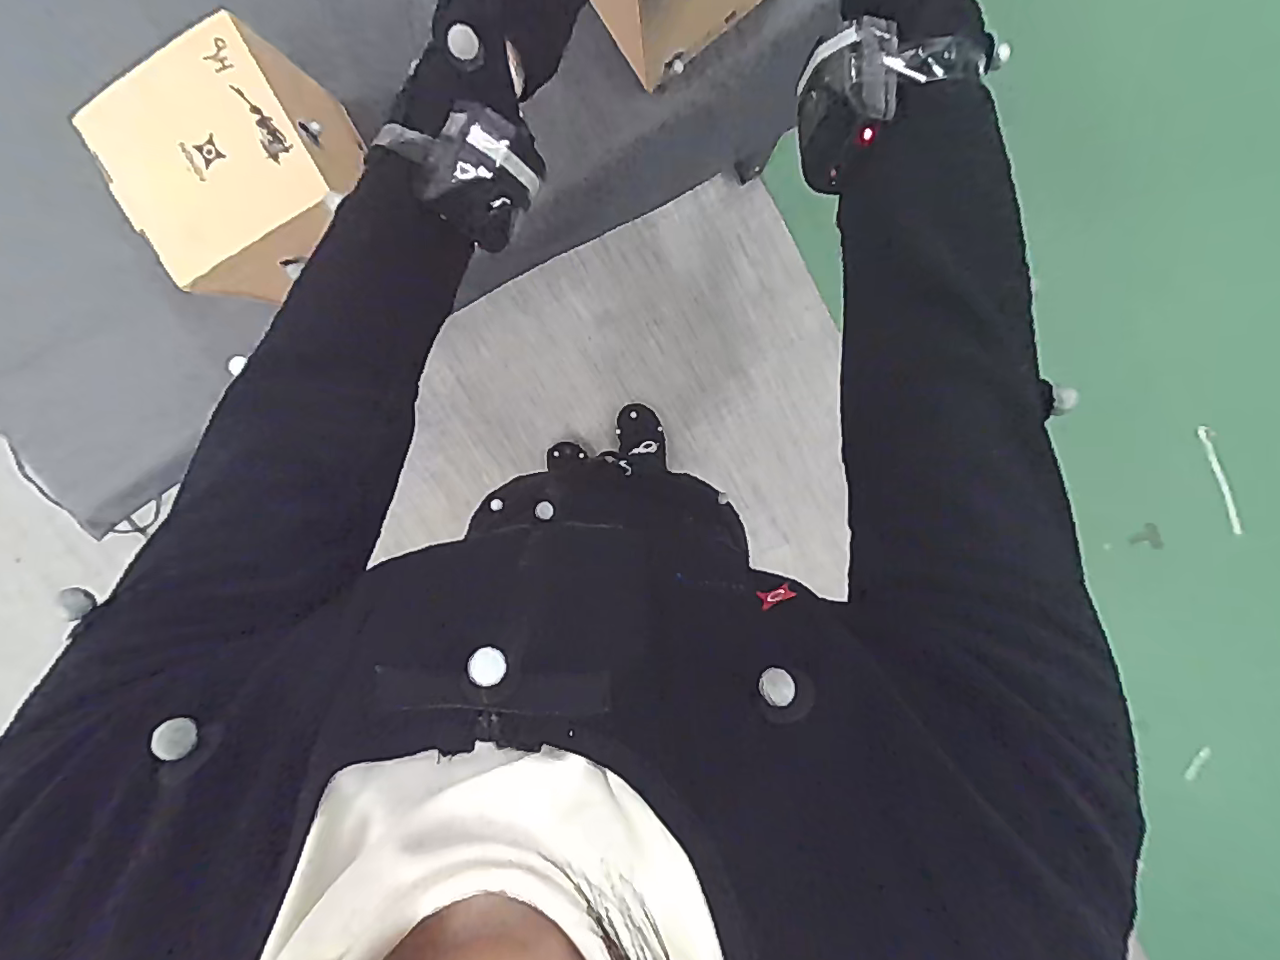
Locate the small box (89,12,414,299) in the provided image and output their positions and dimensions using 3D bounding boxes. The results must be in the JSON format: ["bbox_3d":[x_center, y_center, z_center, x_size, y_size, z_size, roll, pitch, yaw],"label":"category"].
[{"bbox_3d":[-0.378,-0.307,0.561,0.179,0.176,0.168,-26,99,8],"label":"small box"}]

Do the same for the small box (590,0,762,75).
[{"bbox_3d":[0.023,-0.521,0.493,0.168,0.176,0.179,-34,97,10],"label":"small box"}]
